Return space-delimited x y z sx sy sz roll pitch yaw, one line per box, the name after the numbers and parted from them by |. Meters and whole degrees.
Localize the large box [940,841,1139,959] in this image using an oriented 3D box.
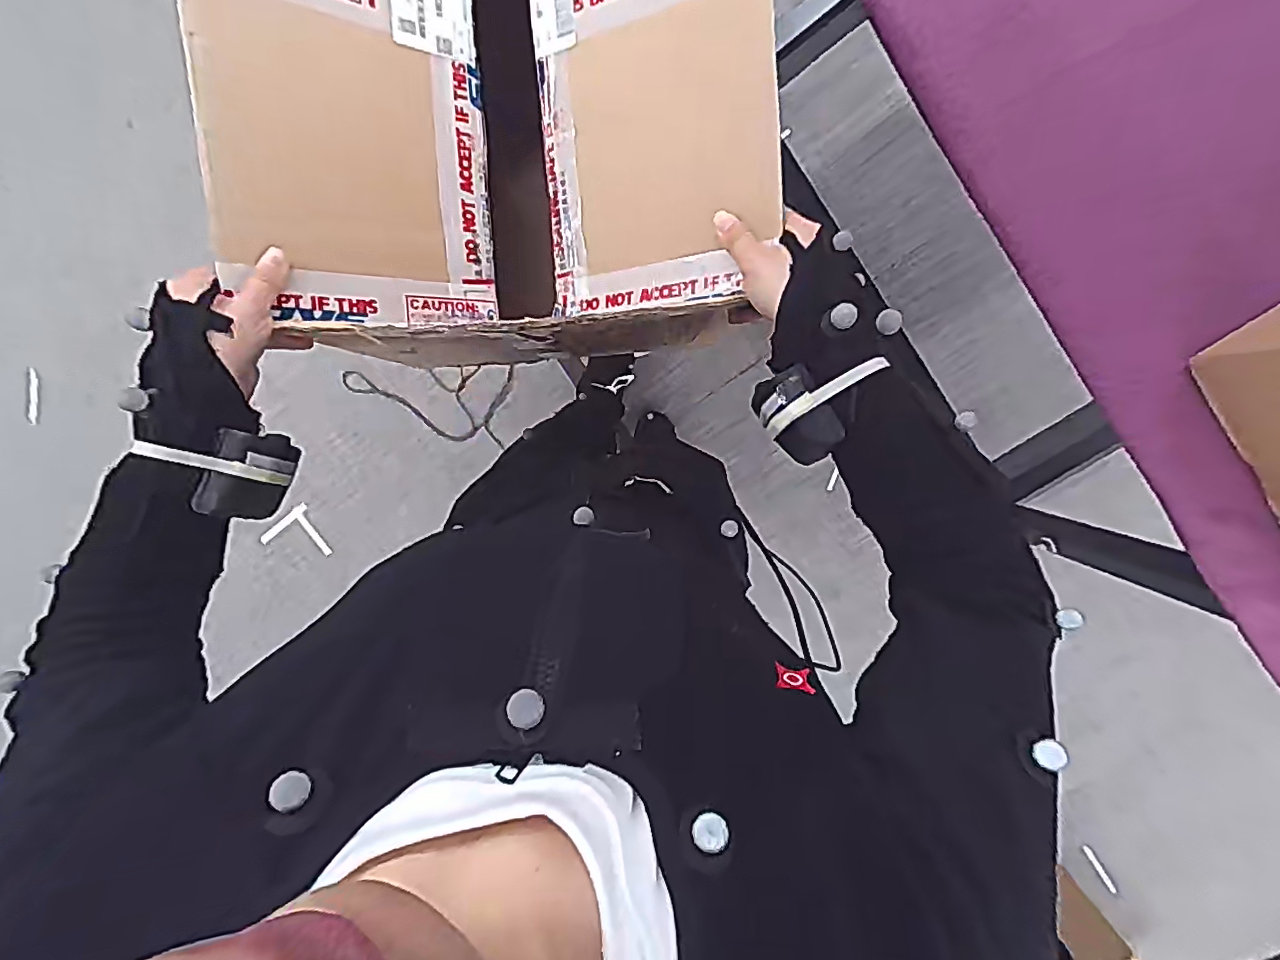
1.019 1.194 1.288 0.320 0.320 0.408 -35 92 8 | large box
